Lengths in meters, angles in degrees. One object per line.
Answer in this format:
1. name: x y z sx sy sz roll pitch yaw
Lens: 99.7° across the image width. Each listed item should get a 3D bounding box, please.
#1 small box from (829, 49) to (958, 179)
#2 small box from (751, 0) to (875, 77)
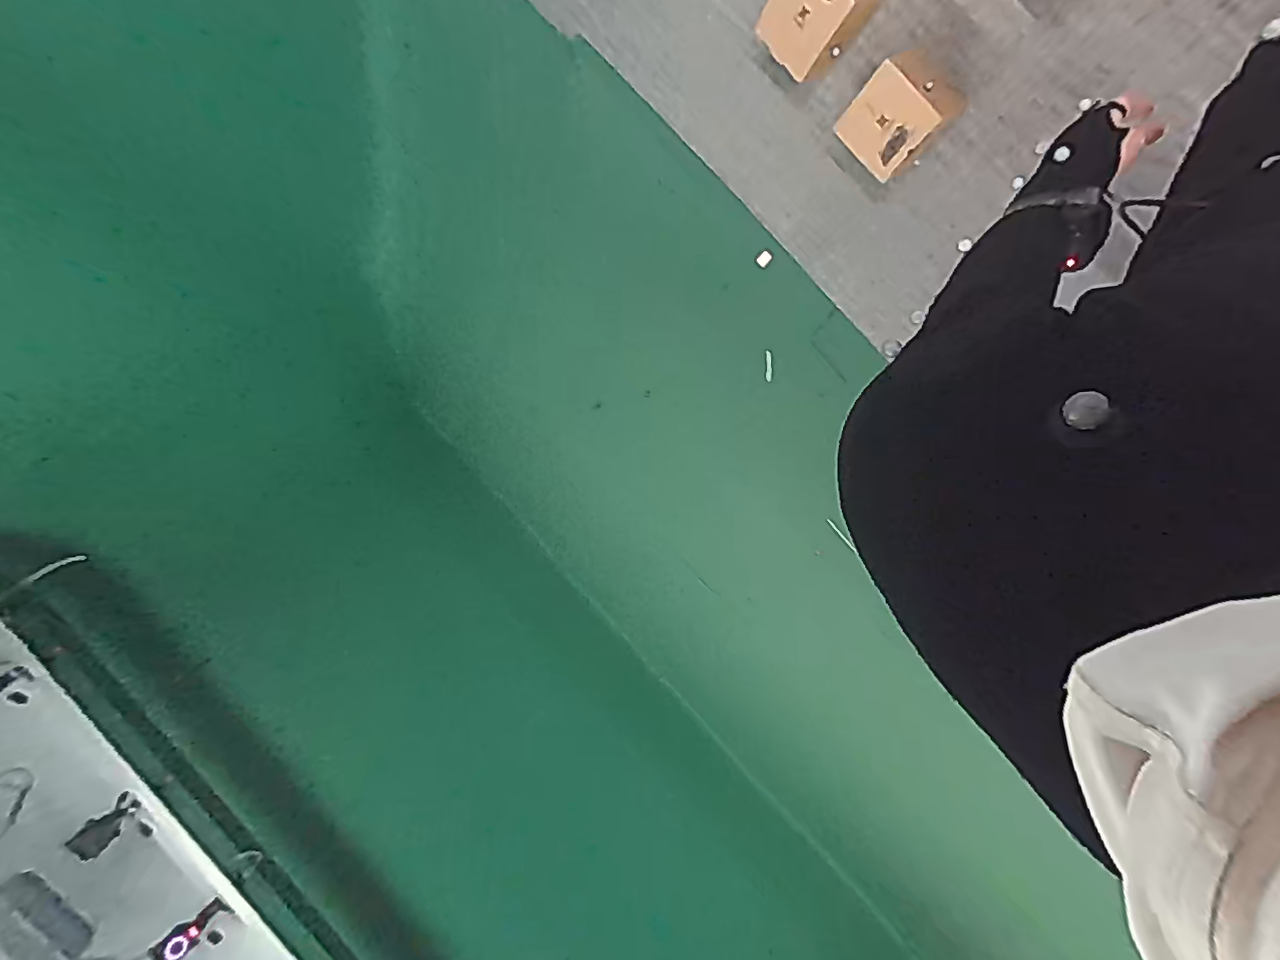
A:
1. small box: 0.572 -0.824 1.213 0.179 0.176 0.168 49 146 1
2. small box: 0.388 -1.048 1.198 0.168 0.176 0.179 49 147 -1
